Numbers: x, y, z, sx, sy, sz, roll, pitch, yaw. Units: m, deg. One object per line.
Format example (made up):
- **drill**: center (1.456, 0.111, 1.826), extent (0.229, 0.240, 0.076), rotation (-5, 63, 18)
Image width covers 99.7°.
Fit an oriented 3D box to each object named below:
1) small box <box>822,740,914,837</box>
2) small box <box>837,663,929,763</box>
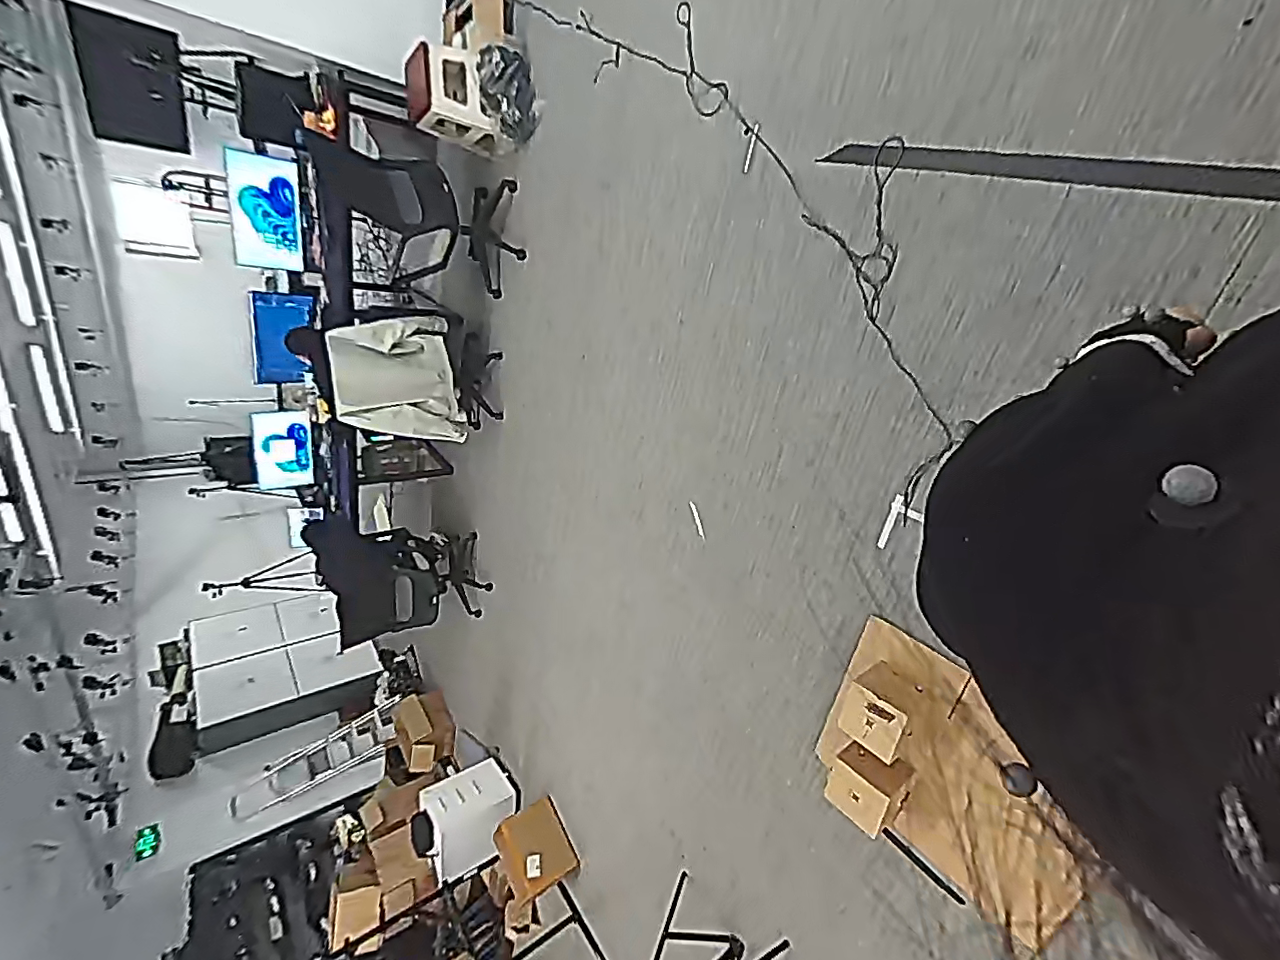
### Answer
- **small box**: center (0.685, 0.908, 1.626), extent (0.179, 0.176, 0.168), rotation (27, 119, 44)
- **small box**: center (0.701, 0.658, 1.552), extent (0.168, 0.176, 0.179), rotation (29, 119, 44)
